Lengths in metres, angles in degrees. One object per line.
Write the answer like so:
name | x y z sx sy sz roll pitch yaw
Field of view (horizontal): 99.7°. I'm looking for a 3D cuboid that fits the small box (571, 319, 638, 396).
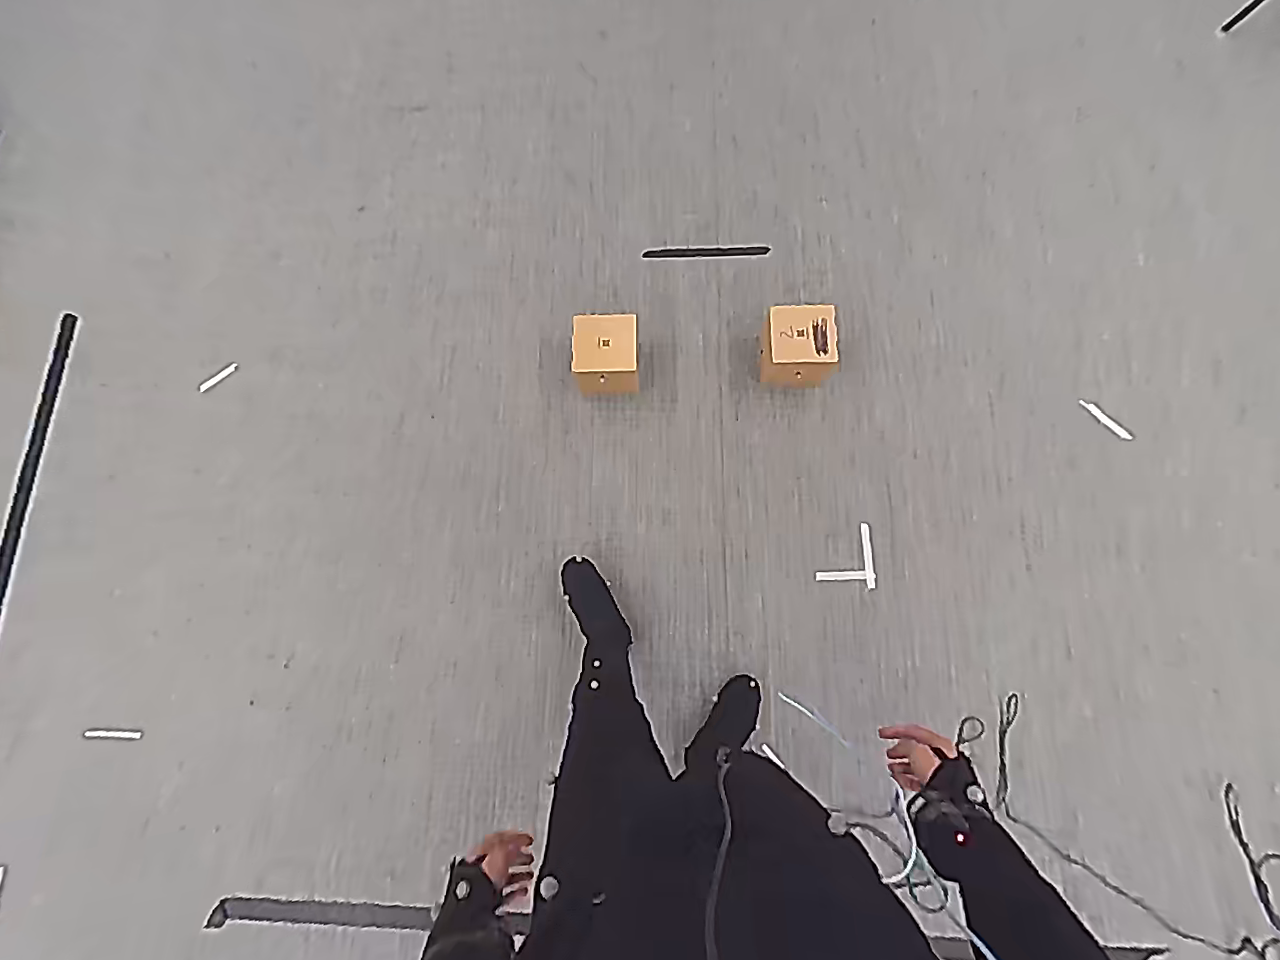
small box | -0.096 -0.342 1.532 0.179 0.176 0.168 -1 78 3
